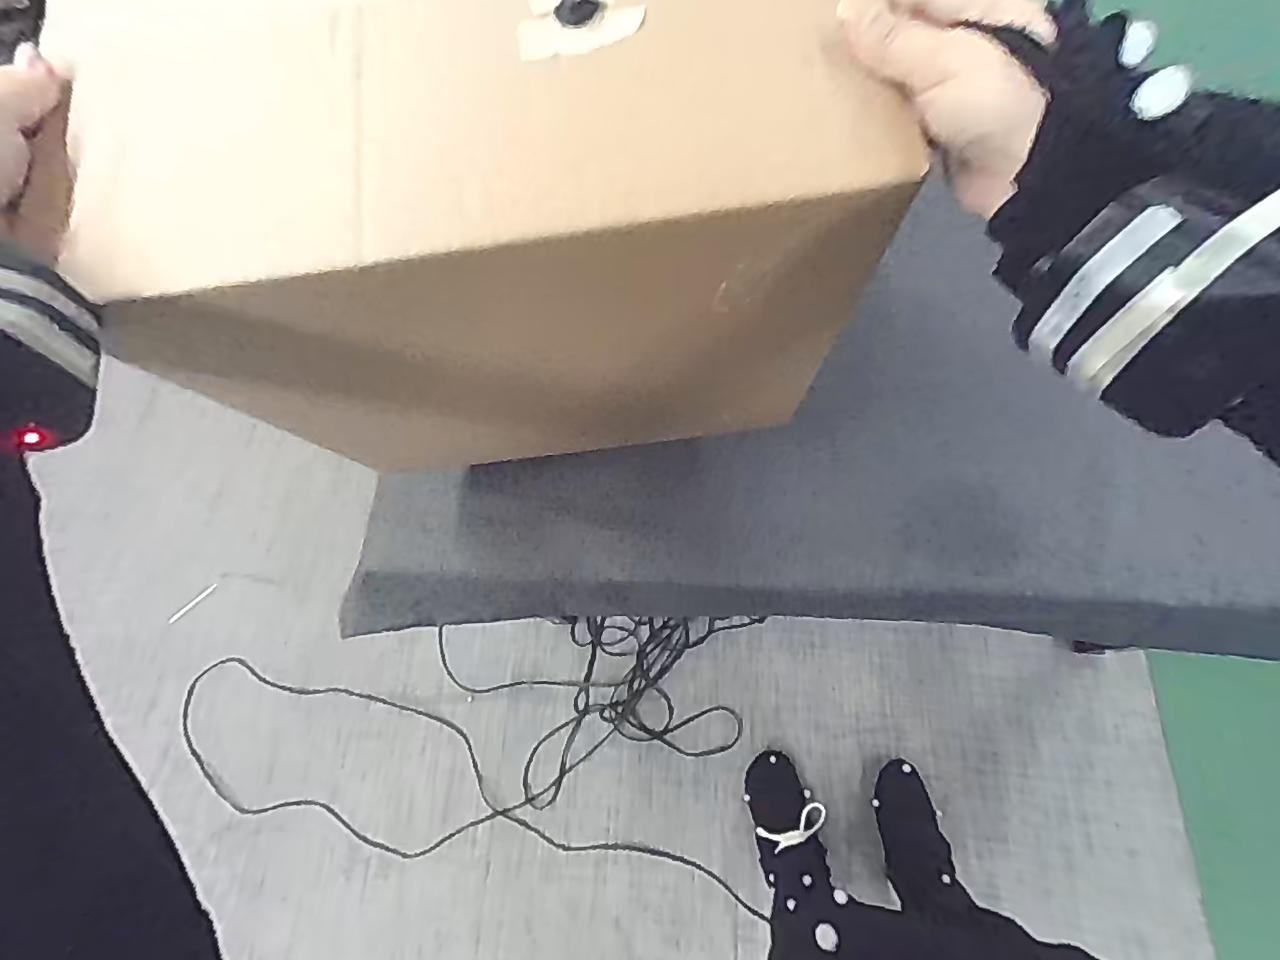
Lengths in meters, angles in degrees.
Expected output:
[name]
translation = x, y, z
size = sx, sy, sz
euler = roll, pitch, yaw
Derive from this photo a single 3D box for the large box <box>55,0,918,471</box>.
[large box]
translation = -0.083, -0.212, 0.422
size = 0.408, 0.320, 0.320
euler = -7, 77, 1
